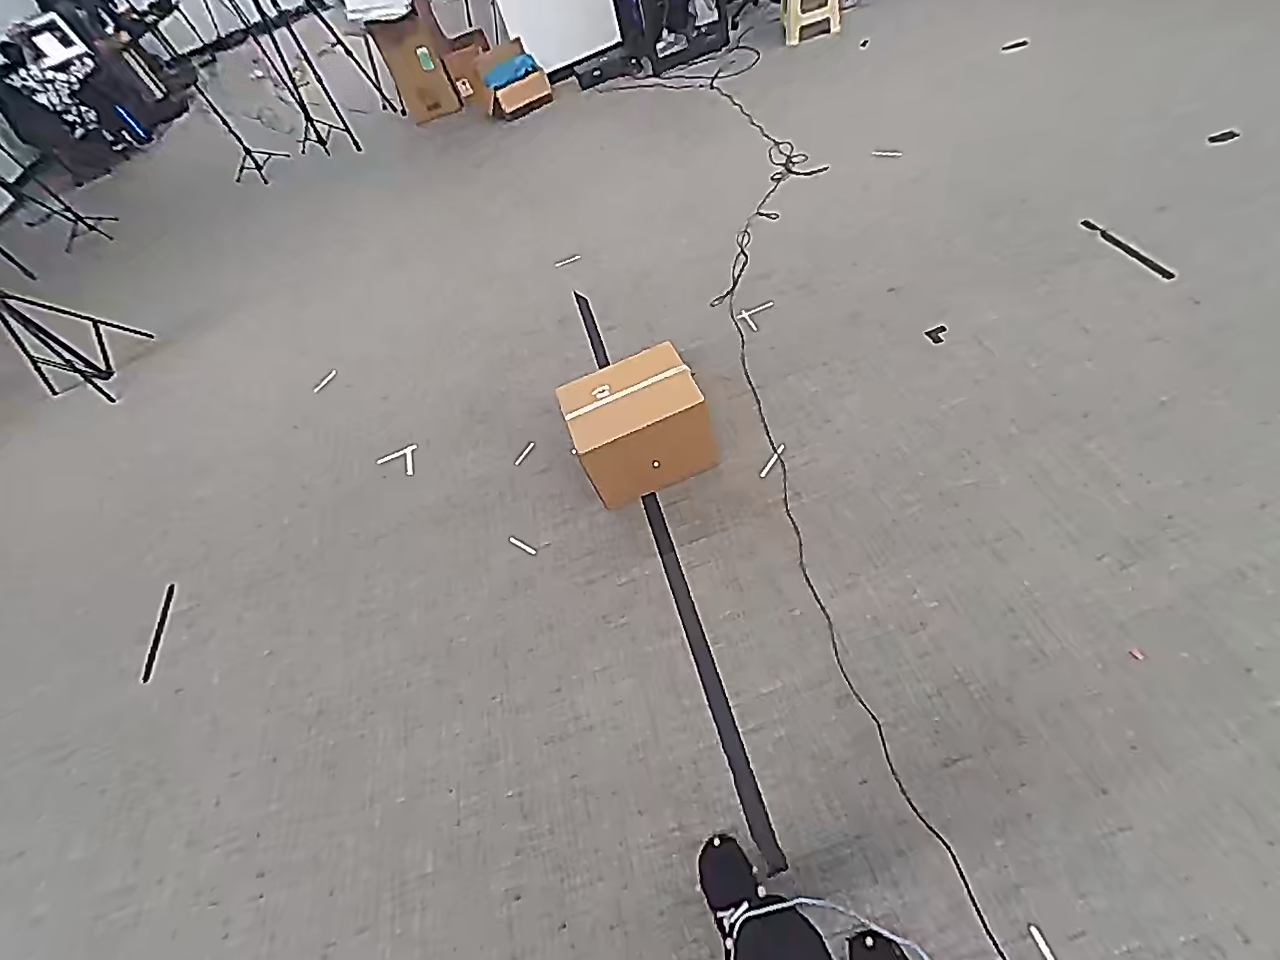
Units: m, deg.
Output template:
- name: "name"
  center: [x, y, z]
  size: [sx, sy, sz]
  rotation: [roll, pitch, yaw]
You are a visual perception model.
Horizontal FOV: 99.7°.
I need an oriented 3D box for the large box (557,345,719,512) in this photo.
- name: "large box"
  center: [-0.003, -0.161, 1.757]
  size: [0.408, 0.320, 0.320]
  rotation: [-24, 50, 1]
